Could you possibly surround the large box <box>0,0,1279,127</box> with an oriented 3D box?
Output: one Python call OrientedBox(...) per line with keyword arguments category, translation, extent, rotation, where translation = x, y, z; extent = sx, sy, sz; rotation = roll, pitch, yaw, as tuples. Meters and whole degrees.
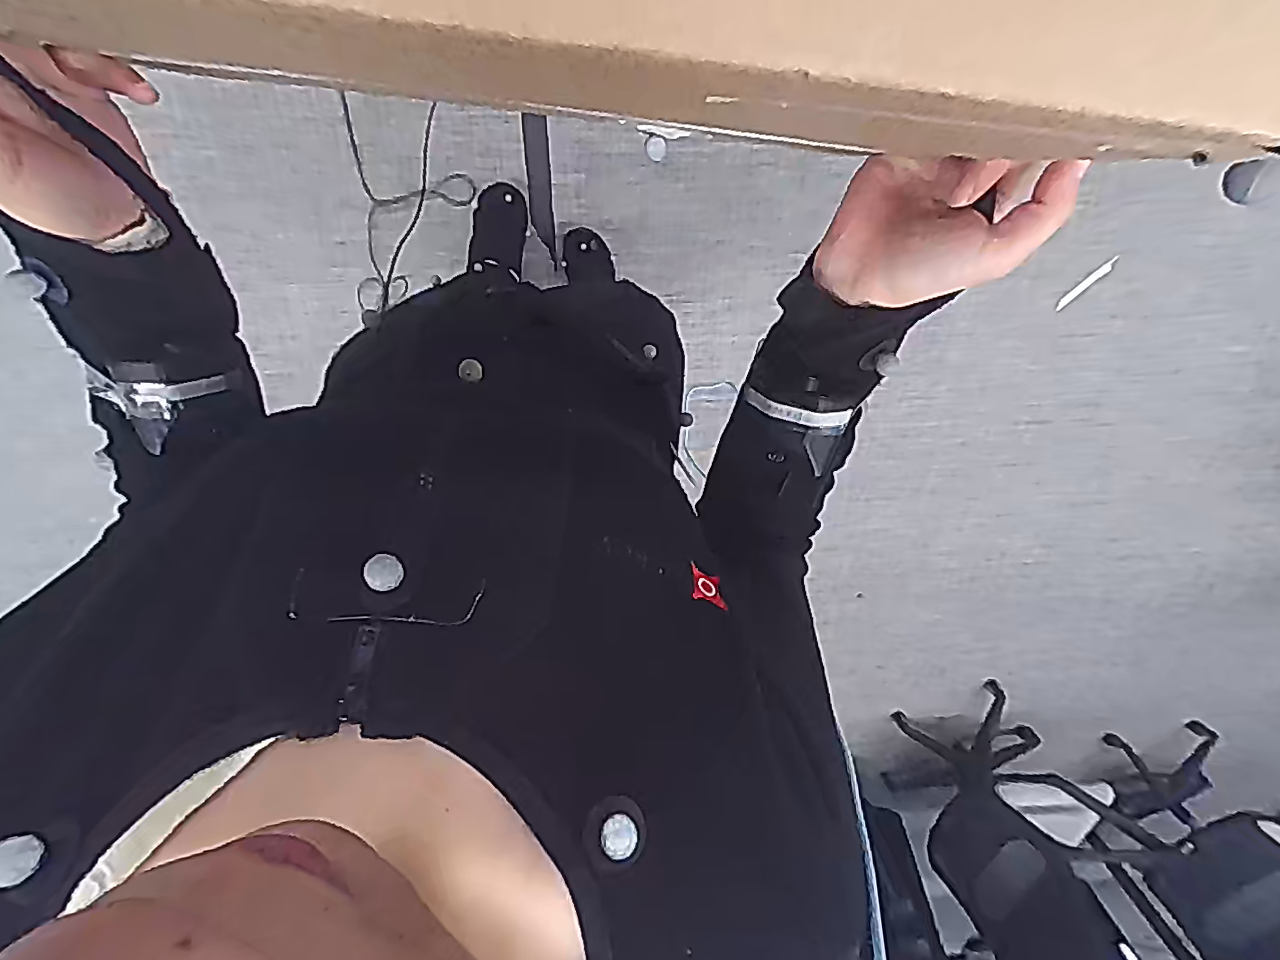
OrientedBox(category="large box", translation=(-0.038, -0.304, 0.145), extent=(0.408, 0.320, 0.320), rotation=(2, 123, -6))
